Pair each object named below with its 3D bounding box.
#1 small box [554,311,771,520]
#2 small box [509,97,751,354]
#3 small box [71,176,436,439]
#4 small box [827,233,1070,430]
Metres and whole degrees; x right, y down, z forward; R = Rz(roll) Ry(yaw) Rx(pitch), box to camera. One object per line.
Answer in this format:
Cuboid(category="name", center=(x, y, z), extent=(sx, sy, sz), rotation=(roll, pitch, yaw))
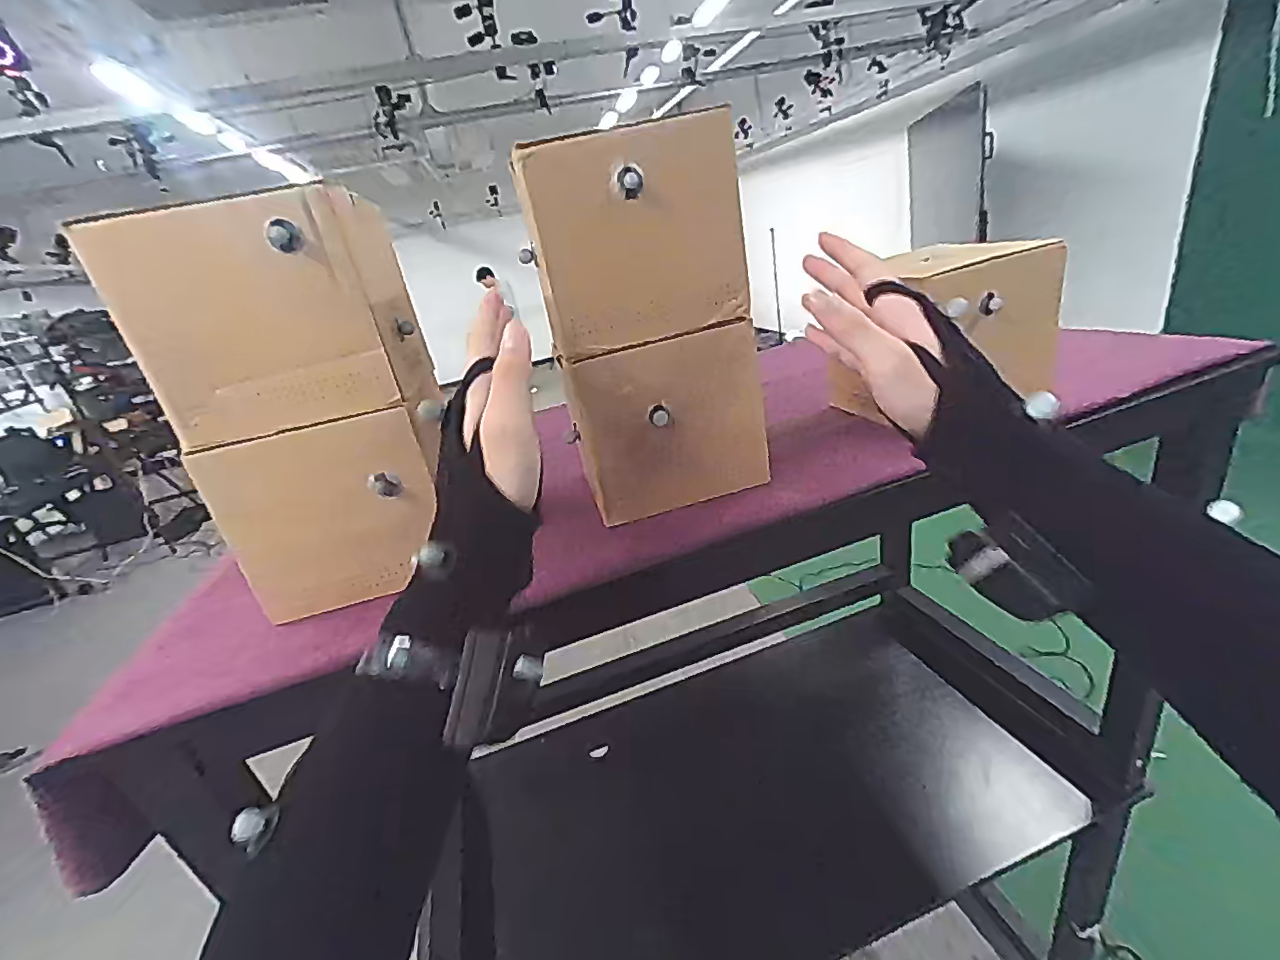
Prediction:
Cuboid(category="small box", center=(0.020, -0.077, 0.575), extent=(0.179, 0.176, 0.168), rotation=(-17, 23, -7))
Cuboid(category="small box", center=(-0.011, -0.225, 0.512), extent=(0.179, 0.176, 0.168), rotation=(-15, 23, -6))
Cuboid(category="small box", center=(-0.303, -0.145, 0.476), extent=(0.179, 0.176, 0.168), rotation=(-14, 22, -7))
Cuboid(category="small box", center=(0.341, -0.170, 0.620), extent=(0.179, 0.176, 0.168), rotation=(-17, 24, -10))
